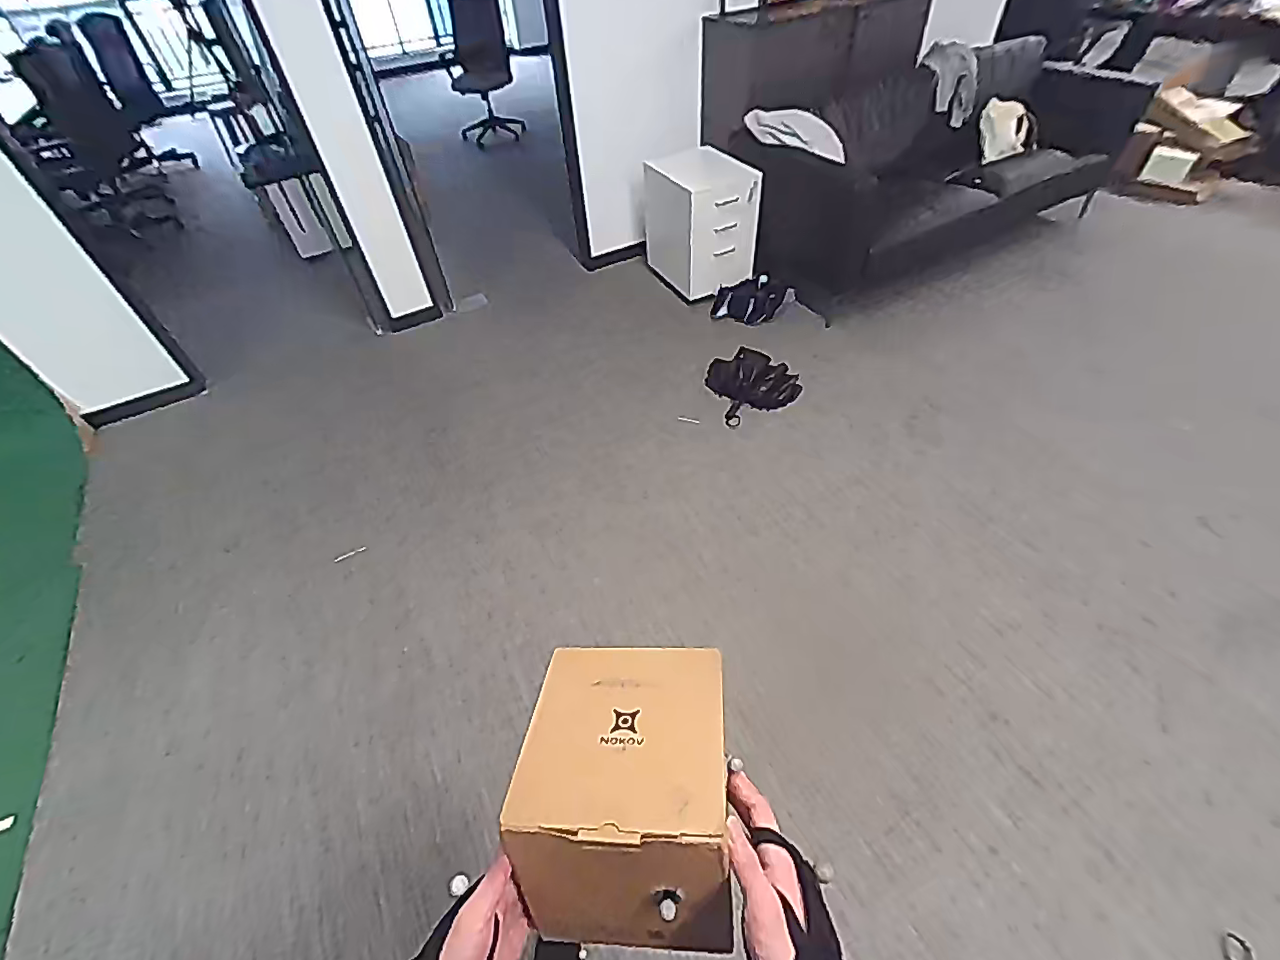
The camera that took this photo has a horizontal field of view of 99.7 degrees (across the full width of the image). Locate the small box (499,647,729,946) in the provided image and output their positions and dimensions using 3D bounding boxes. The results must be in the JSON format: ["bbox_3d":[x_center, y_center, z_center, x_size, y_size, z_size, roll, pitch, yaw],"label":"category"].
[{"bbox_3d":[-0.006,0.275,0.488,0.168,0.176,0.179,-1,27,8],"label":"small box"}]
